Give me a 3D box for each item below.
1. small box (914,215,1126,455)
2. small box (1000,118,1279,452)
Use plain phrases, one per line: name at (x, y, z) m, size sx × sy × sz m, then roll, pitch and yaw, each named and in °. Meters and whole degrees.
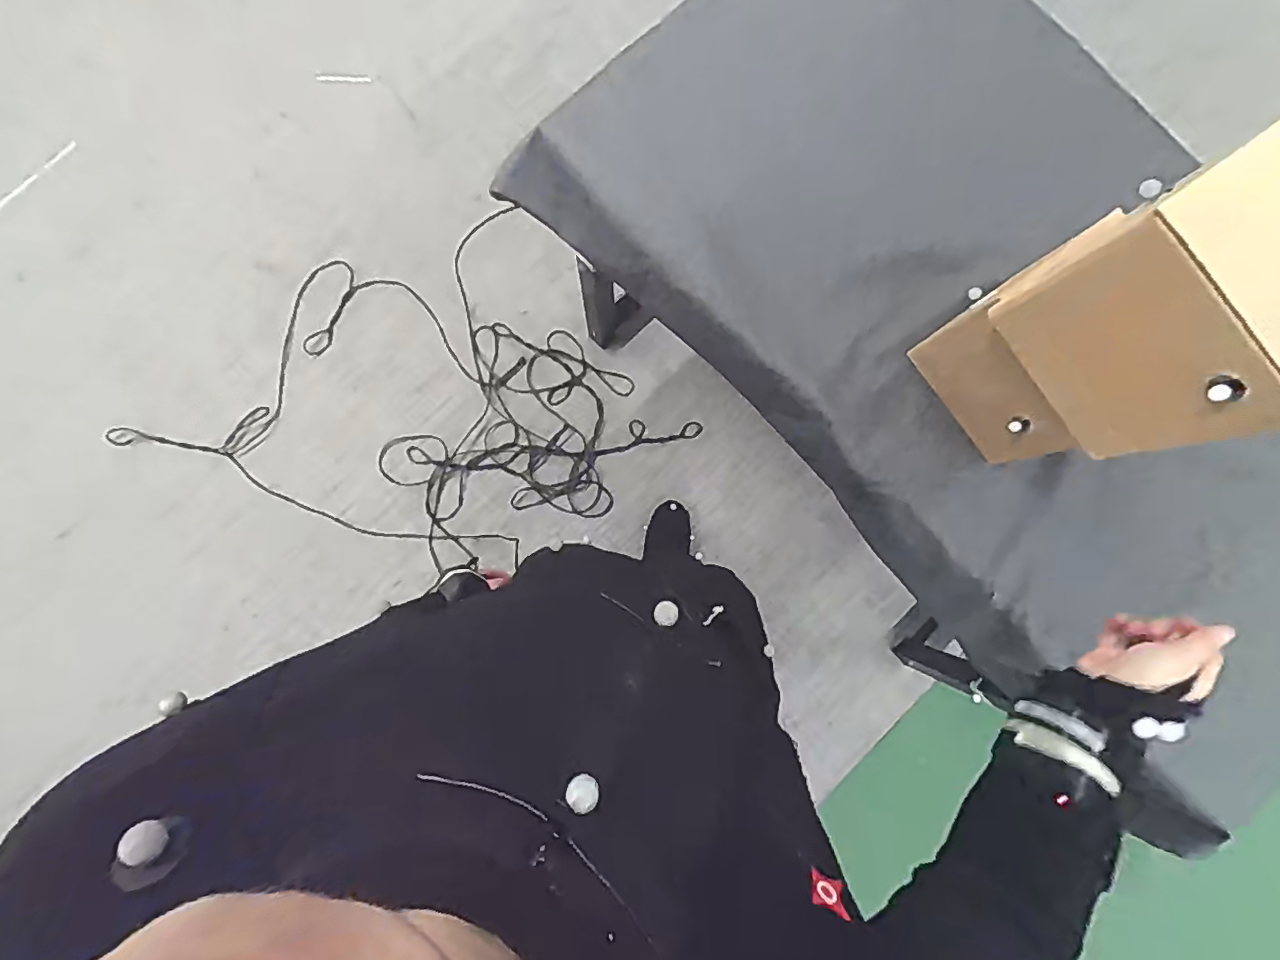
small box at (0.458, -0.142, 0.605) m, size 0.168 × 0.176 × 0.179 m, roll -36°, pitch 86°, yaw -6°
small box at (0.451, -0.144, 0.441) m, size 0.168 × 0.176 × 0.179 m, roll -34°, pitch 87°, yaw -6°
